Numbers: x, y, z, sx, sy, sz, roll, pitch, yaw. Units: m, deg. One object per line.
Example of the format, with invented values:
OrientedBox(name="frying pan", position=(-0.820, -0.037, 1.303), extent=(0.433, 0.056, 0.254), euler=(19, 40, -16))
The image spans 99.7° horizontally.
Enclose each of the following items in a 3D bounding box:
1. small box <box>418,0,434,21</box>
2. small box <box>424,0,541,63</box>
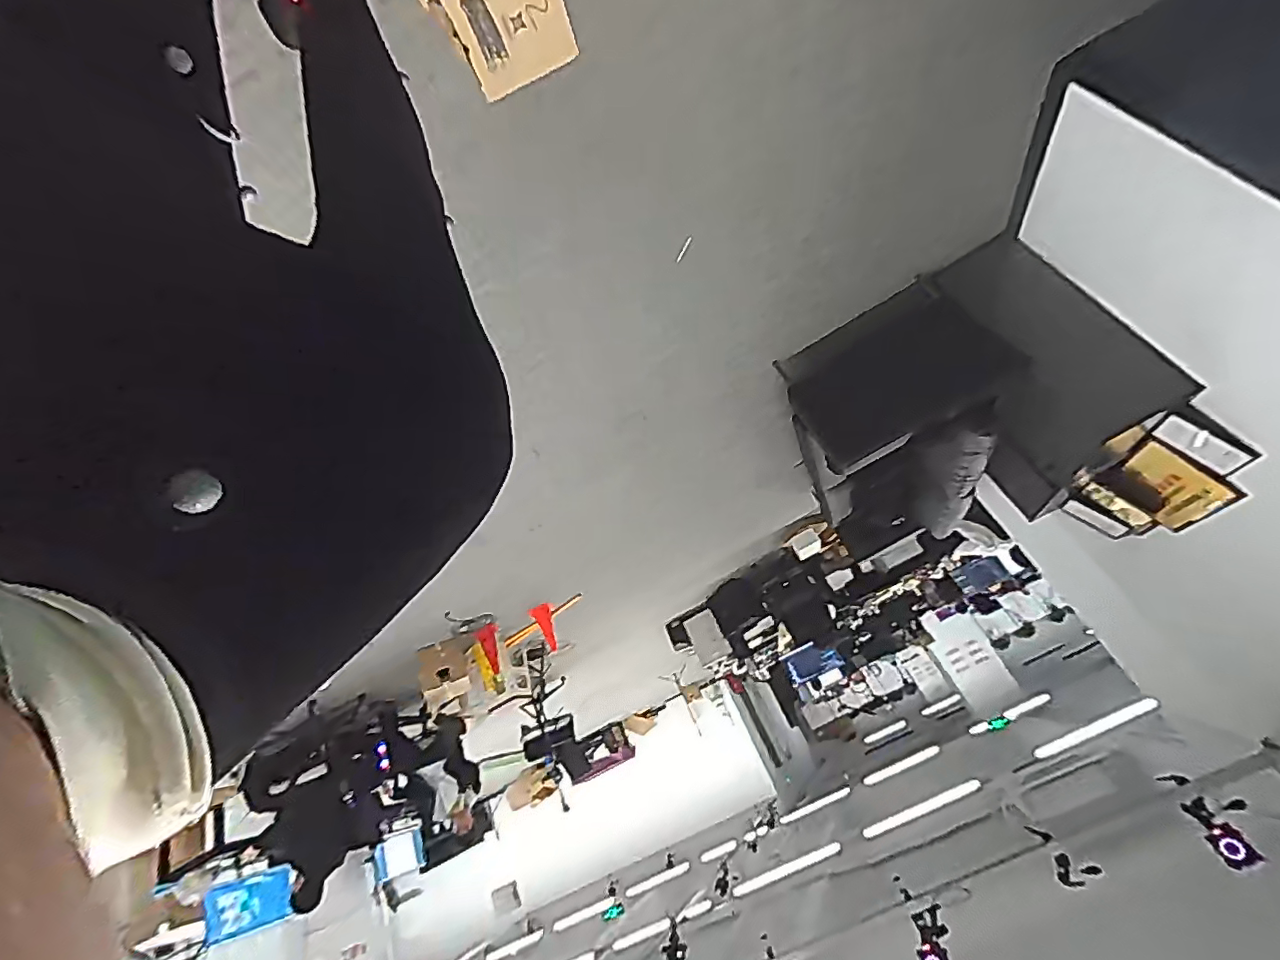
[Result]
OrientedBox(name="small box", position=(-0.374, -1.022, 1.015), extent=(0.179, 0.176, 0.168), euler=(-25, 150, -1))
OrientedBox(name="small box", position=(-0.305, -0.894, 0.946), extent=(0.179, 0.176, 0.168), euler=(-28, 153, 3))
